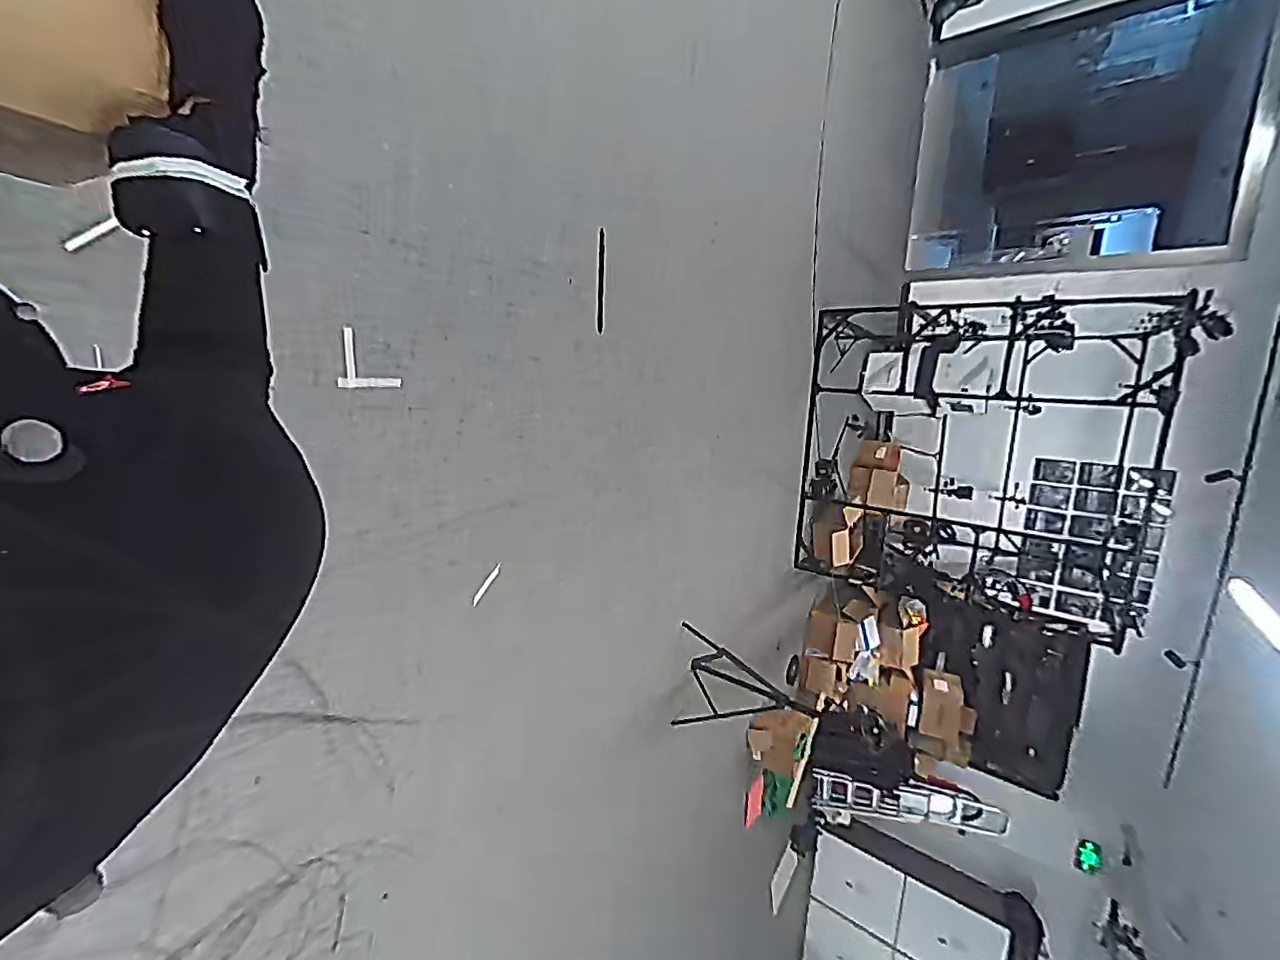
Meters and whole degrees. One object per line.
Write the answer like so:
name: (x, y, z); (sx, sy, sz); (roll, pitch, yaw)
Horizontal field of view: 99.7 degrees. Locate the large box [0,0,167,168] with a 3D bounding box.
large box: (-0.563, -0.417, 0.288); (0.408, 0.320, 0.320); (-6, 110, -57)
